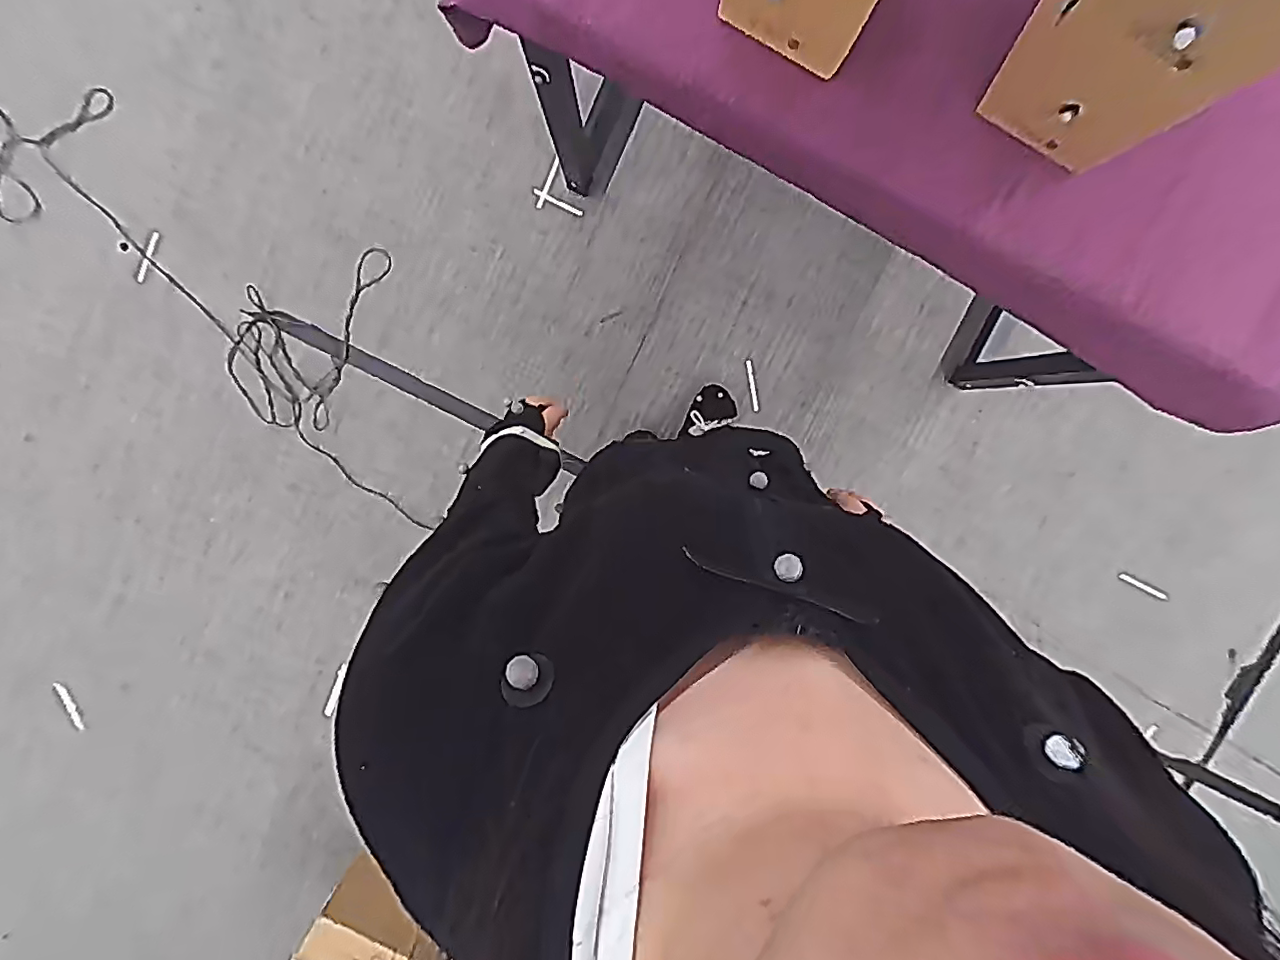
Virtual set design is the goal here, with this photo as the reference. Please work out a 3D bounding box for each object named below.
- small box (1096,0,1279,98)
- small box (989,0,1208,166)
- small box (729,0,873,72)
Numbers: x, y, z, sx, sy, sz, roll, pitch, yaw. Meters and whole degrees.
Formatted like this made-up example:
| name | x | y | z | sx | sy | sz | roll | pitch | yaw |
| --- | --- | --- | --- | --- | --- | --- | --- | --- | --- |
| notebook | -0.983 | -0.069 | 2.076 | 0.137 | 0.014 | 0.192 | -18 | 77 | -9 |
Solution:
| name | x | y | z | sx | sy | sz | roll | pitch | yaw |
| --- | --- | --- | --- | --- | --- | --- | --- | --- | --- |
| small box | 0.553 | -0.485 | 0.456 | 0.168 | 0.176 | 0.179 | 28 | 97 | -4 |
| small box | 0.548 | -0.505 | 0.619 | 0.168 | 0.176 | 0.179 | 29 | 96 | -5 |
| small box | 0.210 | -0.616 | 0.602 | 0.168 | 0.176 | 0.179 | 27 | 96 | -4 |
